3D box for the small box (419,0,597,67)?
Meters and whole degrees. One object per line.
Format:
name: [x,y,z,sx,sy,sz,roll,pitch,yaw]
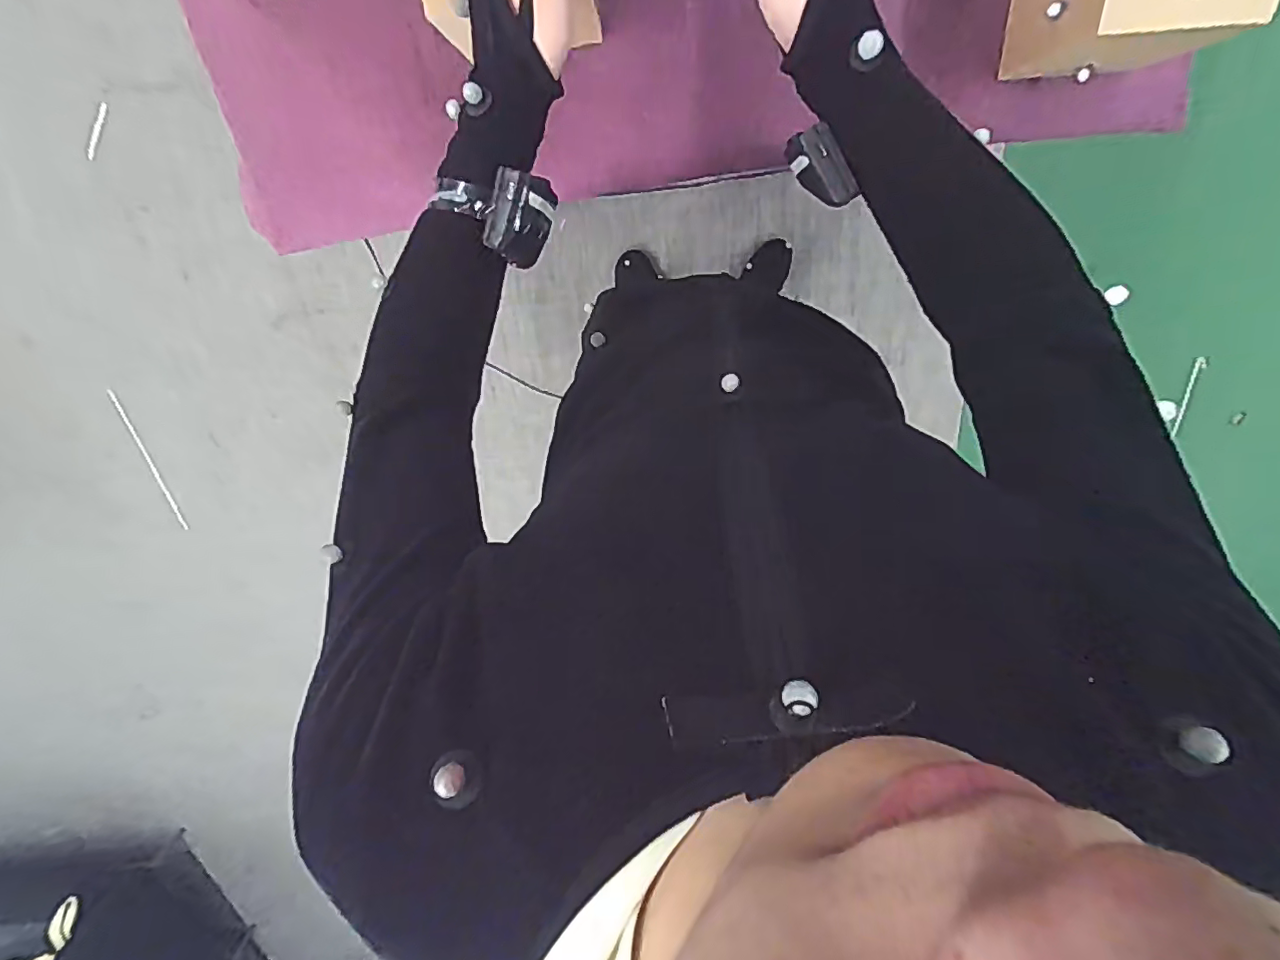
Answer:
small box: [-0.142,-0.566,0.560,0.168,0.176,0.179,-7,115,4]
